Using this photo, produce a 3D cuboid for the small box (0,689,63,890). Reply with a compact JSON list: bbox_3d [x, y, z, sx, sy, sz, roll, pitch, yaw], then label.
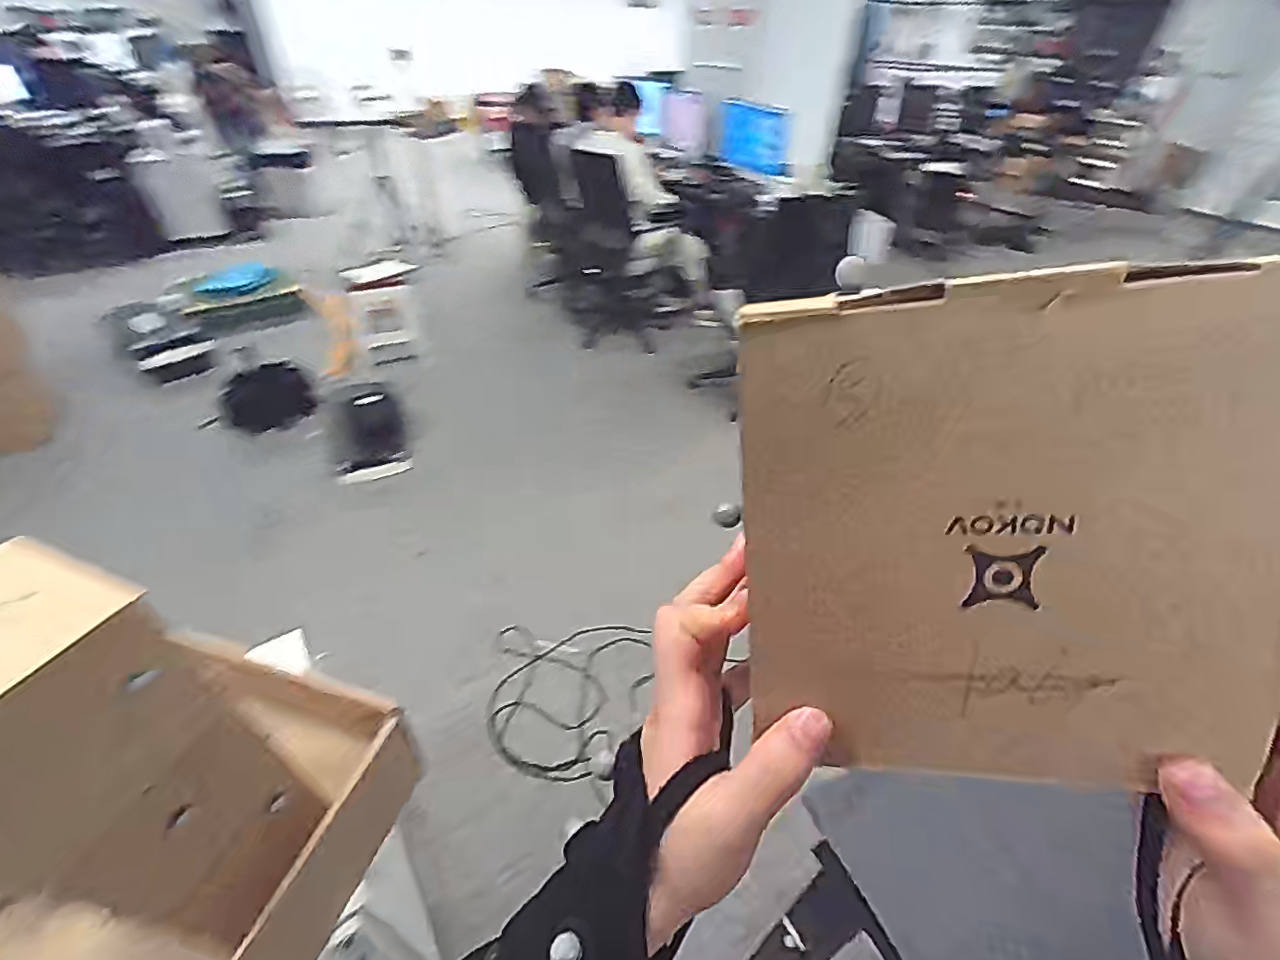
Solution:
[{"bbox_3d":[-0.784,0.398,0.694,0.179,0.176,0.168,9,41,4],"label":"small box"}]
